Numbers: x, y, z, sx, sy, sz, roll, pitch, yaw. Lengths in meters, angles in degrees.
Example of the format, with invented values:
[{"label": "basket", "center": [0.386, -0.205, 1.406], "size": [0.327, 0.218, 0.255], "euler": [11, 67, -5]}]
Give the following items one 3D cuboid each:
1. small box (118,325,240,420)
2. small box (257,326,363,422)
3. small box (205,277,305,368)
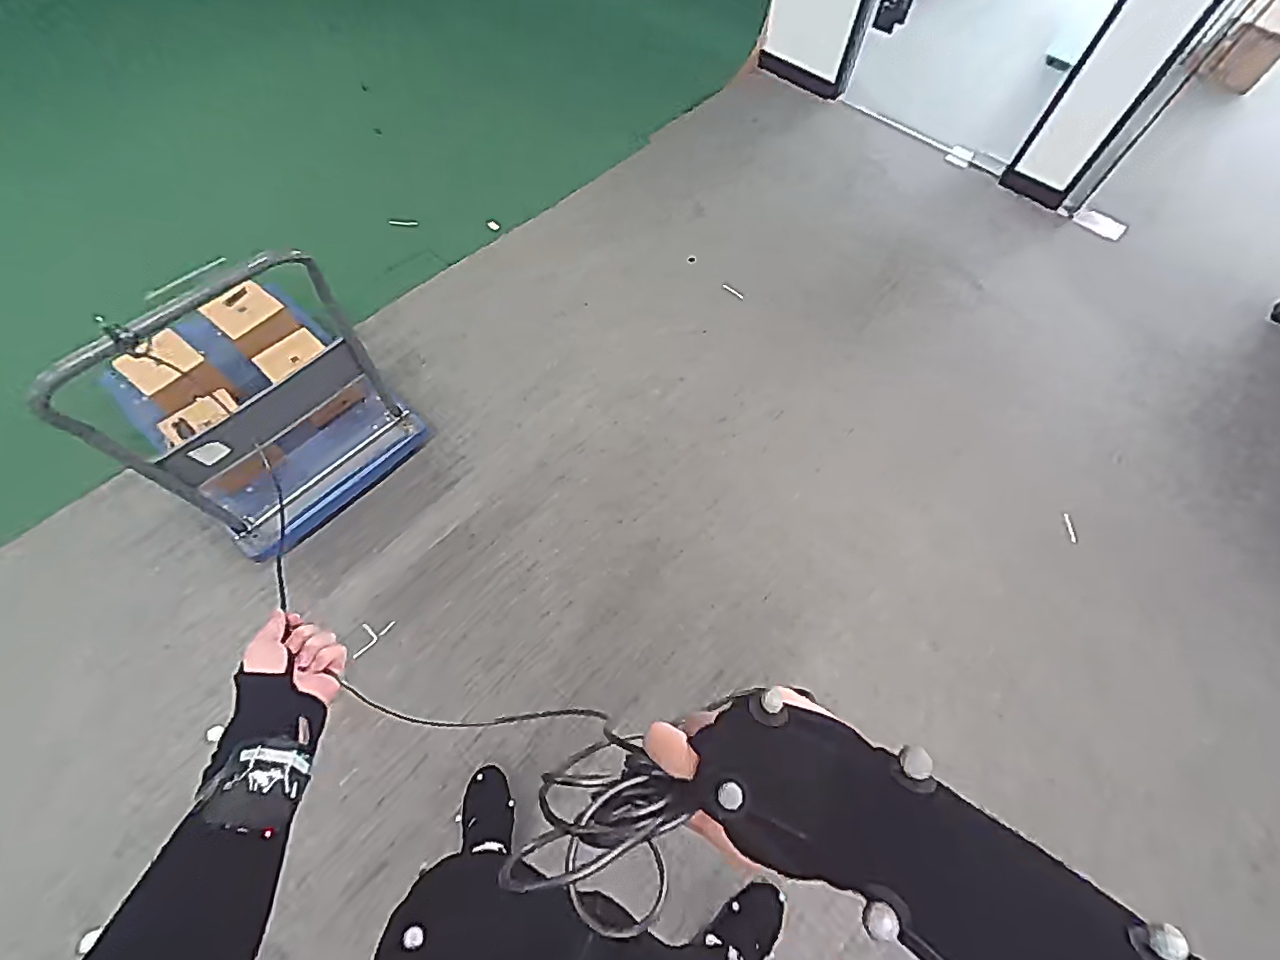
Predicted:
[{"label": "small box", "center": [-1.300, -0.297, 1.539], "size": [0.179, 0.176, 0.168], "euler": [37, 66, 14]}, {"label": "small box", "center": [-0.945, -0.302, 1.562], "size": [0.179, 0.176, 0.168], "euler": [41, 68, 15]}, {"label": "small box", "center": [-1.144, -0.469, 1.635], "size": [0.179, 0.176, 0.168], "euler": [37, 68, 13]}]
